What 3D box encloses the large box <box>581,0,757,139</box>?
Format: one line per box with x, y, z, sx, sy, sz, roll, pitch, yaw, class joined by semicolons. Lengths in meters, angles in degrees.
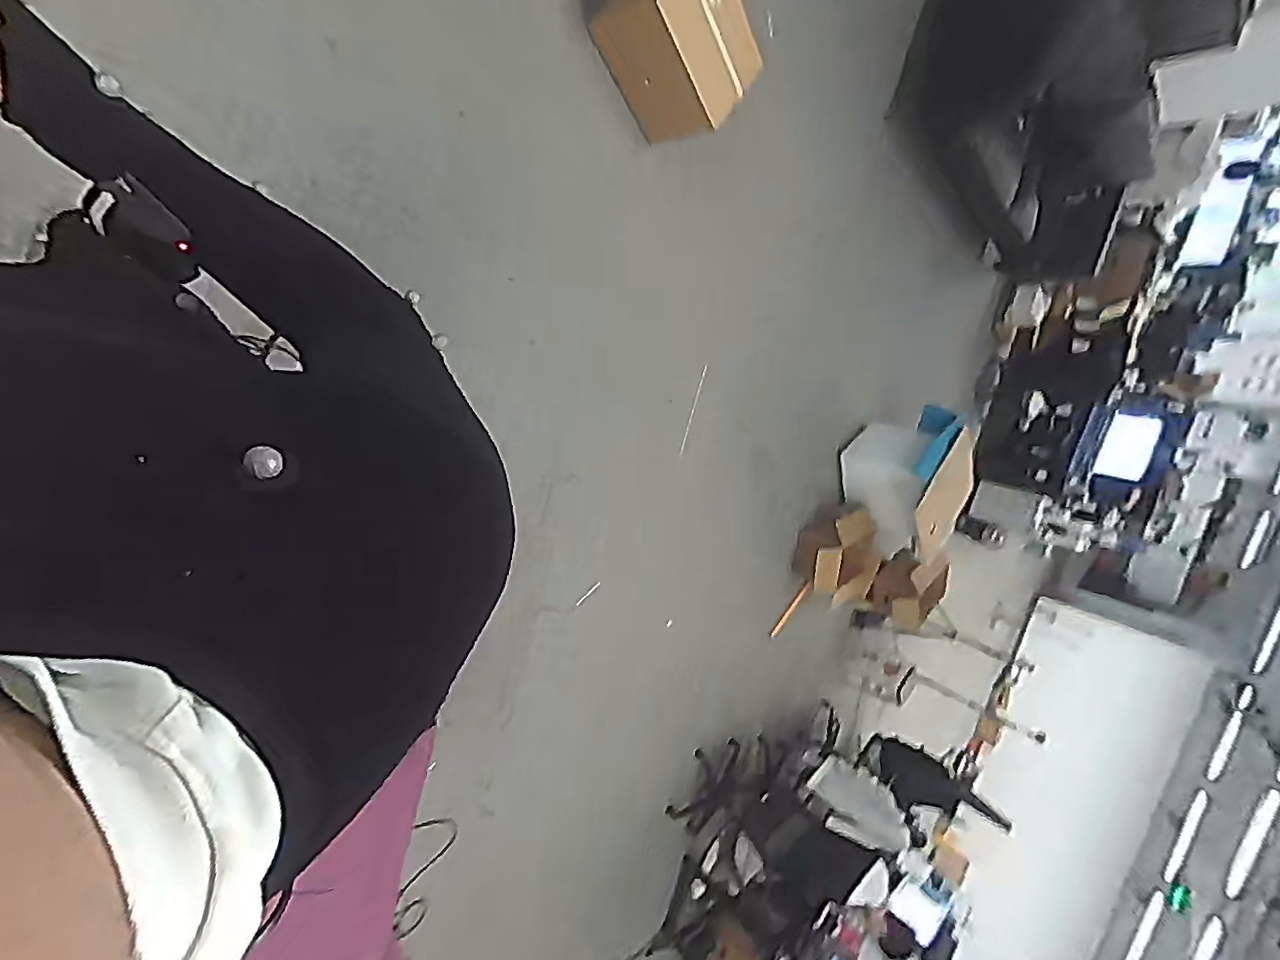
0.098;-1.380;1.699;0.408;0.320;0.320;43;75;-43;large box
